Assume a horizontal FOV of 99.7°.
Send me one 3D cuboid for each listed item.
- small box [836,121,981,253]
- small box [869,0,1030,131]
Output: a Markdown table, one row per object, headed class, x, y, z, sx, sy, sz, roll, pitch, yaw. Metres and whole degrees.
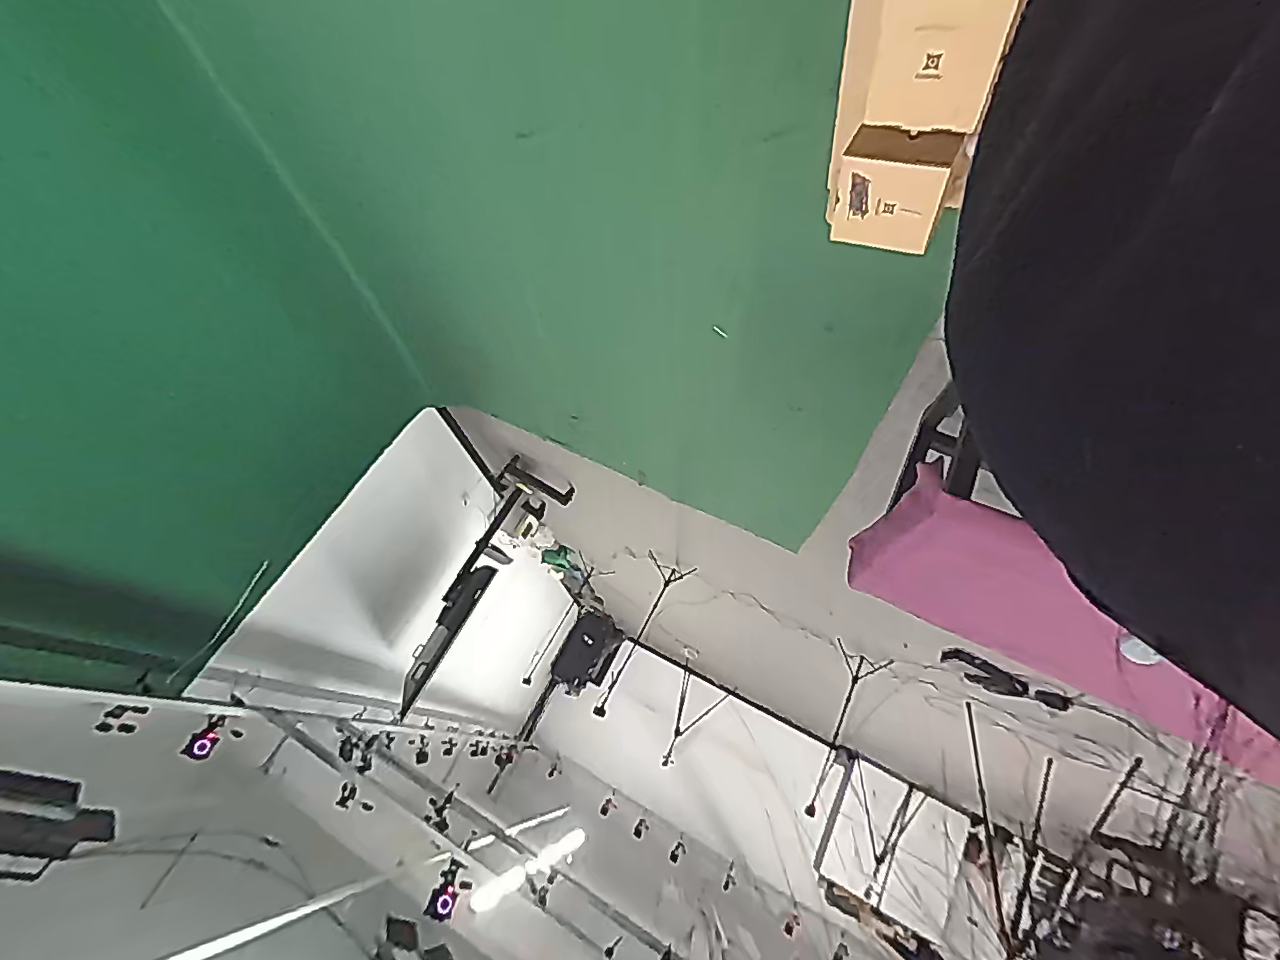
| class | x | y | z | sx | sy | sz | roll | pitch | yaw |
| --- | --- | --- | --- | --- | --- | --- | --- | --- | --- |
| small box | 0.482 | -0.551 | 0.984 | 0.179 | 0.176 | 0.168 | 22 | 156 | 22 |
| small box | 0.460 | -0.655 | 0.793 | 0.168 | 0.176 | 0.179 | 21 | 155 | 22 |
